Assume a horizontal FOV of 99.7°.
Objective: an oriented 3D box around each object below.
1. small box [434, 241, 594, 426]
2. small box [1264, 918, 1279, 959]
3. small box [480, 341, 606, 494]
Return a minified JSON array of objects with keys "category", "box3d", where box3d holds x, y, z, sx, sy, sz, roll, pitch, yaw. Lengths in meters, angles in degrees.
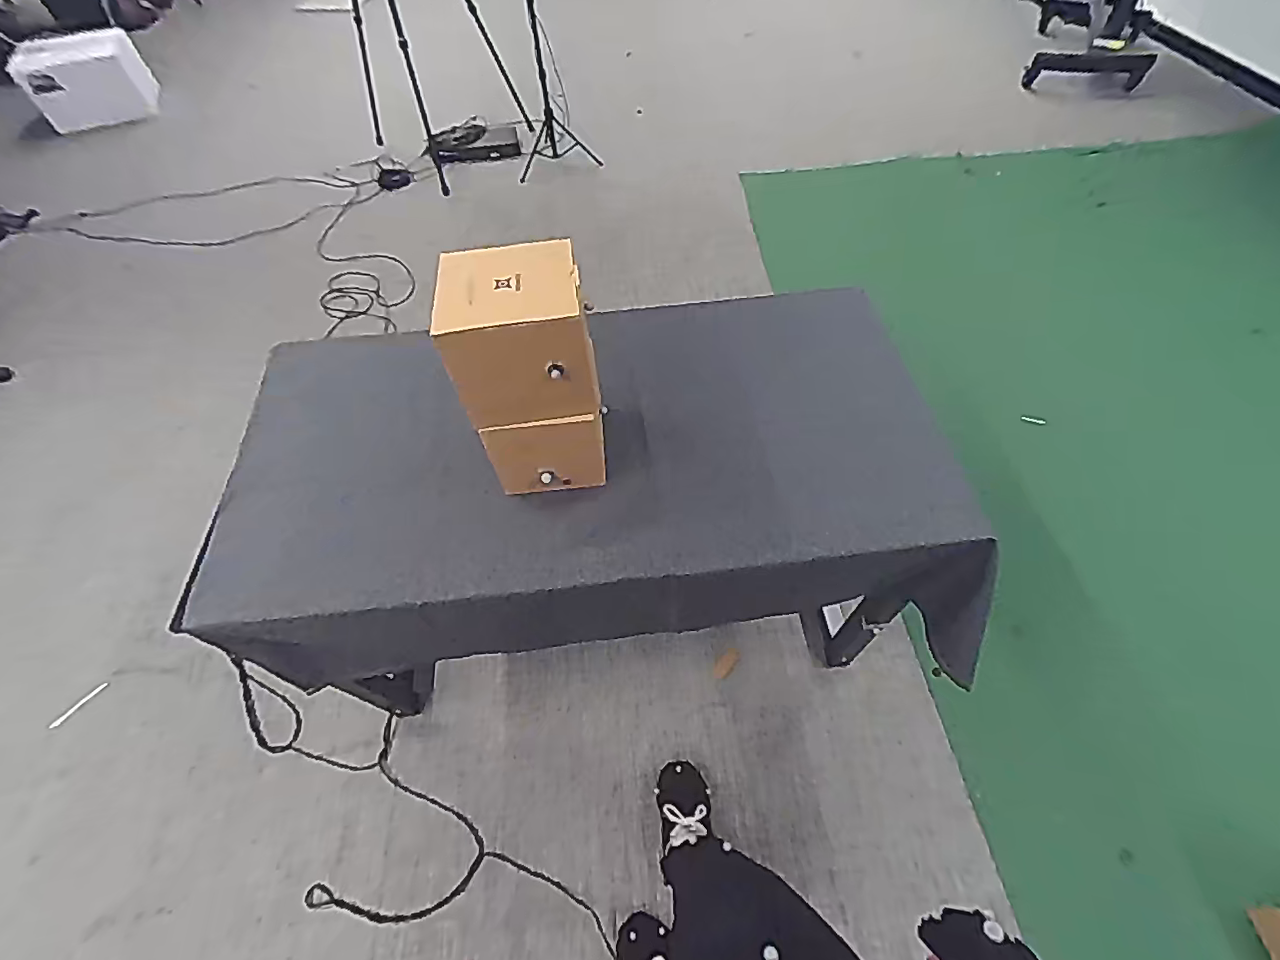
[{"category":"small box","box3d":[-0.157,-0.194,0.733,0.179,0.176,0.168,-8,54,-2]},{"category":"small box","box3d":[1.316,0.904,0.977,0.179,0.176,0.168,-1,55,1]},{"category":"small box","box3d":[-0.146,-0.098,0.865,0.168,0.176,0.179,-5,56,0]}]
